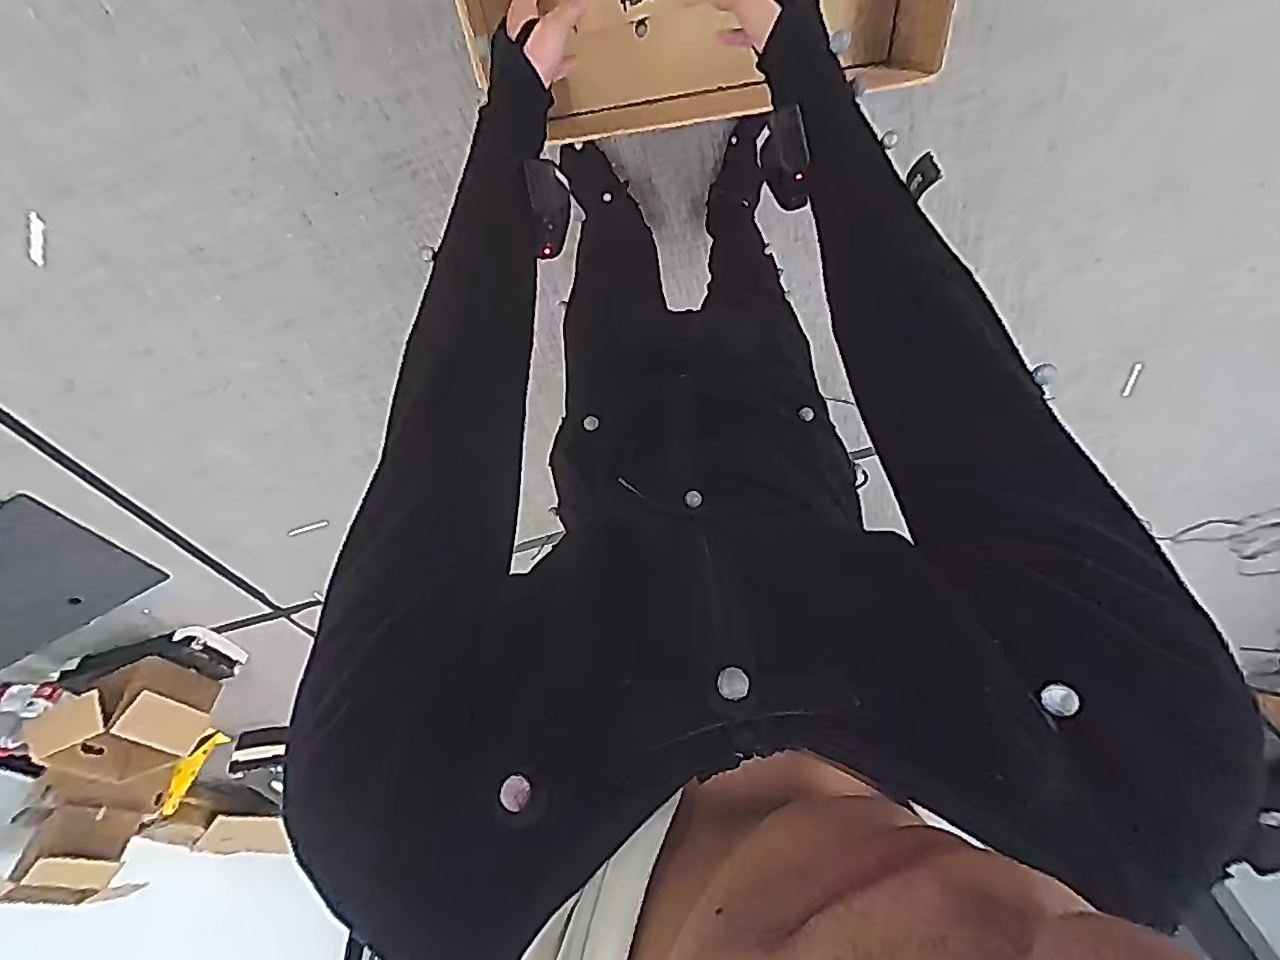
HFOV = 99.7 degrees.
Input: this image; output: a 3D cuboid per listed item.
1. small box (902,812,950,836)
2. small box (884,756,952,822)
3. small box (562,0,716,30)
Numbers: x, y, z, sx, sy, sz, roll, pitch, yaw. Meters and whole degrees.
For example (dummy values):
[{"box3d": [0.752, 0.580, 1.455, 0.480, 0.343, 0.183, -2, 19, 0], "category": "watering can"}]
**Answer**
[{"box3d": [1.184, 1.382, 2.294, 0.168, 0.176, 0.179, -18, 132, 7], "category": "small box"}, {"box3d": [1.078, 1.208, 2.116, 0.179, 0.176, 0.168, -14, 133, 4], "category": "small box"}, {"box3d": [-0.008, -0.554, 0.511, 0.168, 0.176, 0.179, -13, 132, 1], "category": "small box"}]
